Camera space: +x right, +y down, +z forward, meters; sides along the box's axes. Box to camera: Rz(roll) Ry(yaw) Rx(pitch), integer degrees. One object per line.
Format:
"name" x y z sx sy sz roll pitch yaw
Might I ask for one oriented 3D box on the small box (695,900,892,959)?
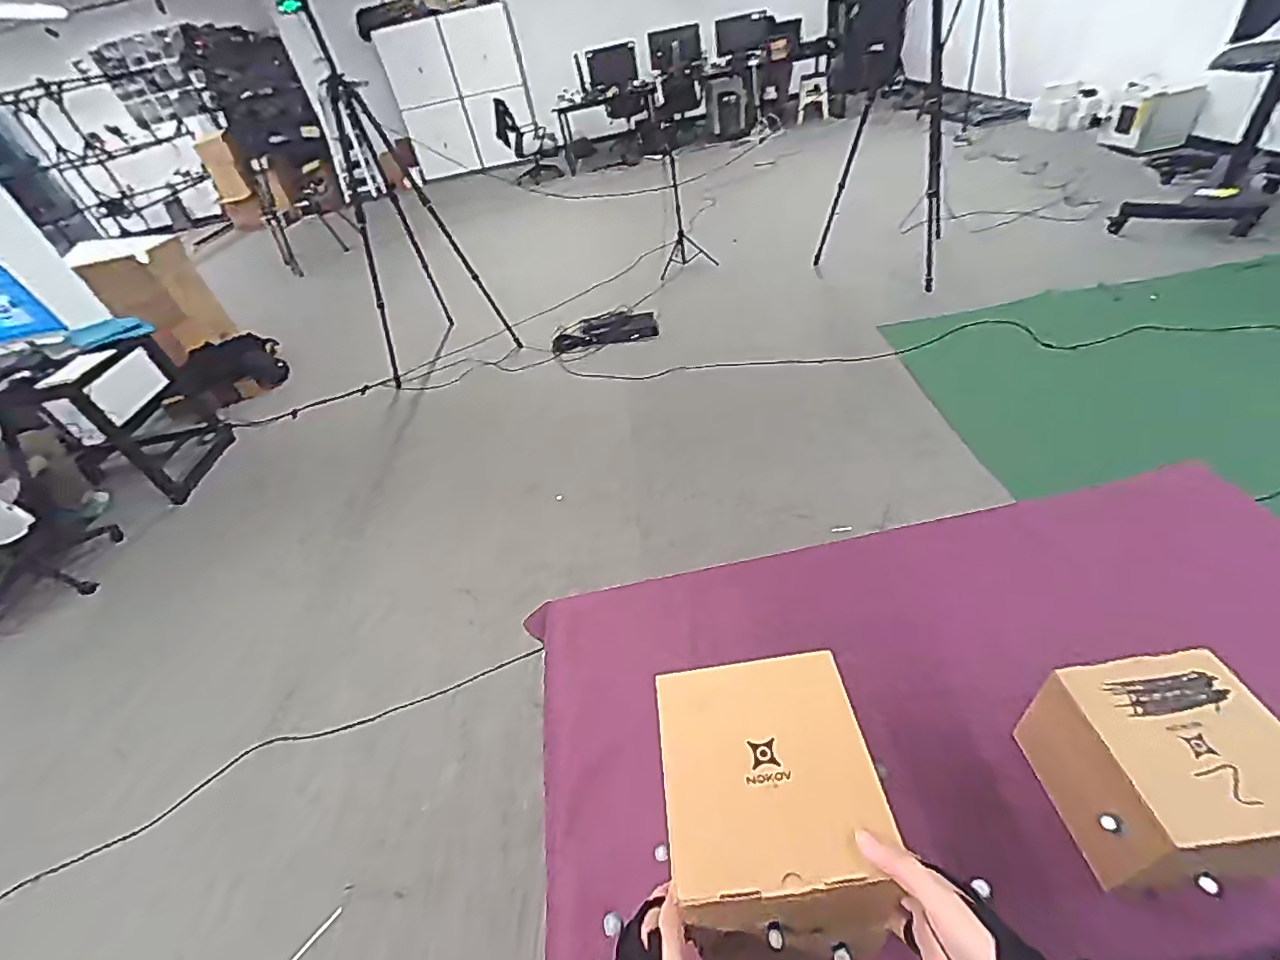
"small box" 0.145 0.409 0.589 0.179 0.176 0.168 -12 40 4

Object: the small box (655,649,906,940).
"small box" 0.111 0.284 0.491 0.168 0.176 0.179 -11 42 4
